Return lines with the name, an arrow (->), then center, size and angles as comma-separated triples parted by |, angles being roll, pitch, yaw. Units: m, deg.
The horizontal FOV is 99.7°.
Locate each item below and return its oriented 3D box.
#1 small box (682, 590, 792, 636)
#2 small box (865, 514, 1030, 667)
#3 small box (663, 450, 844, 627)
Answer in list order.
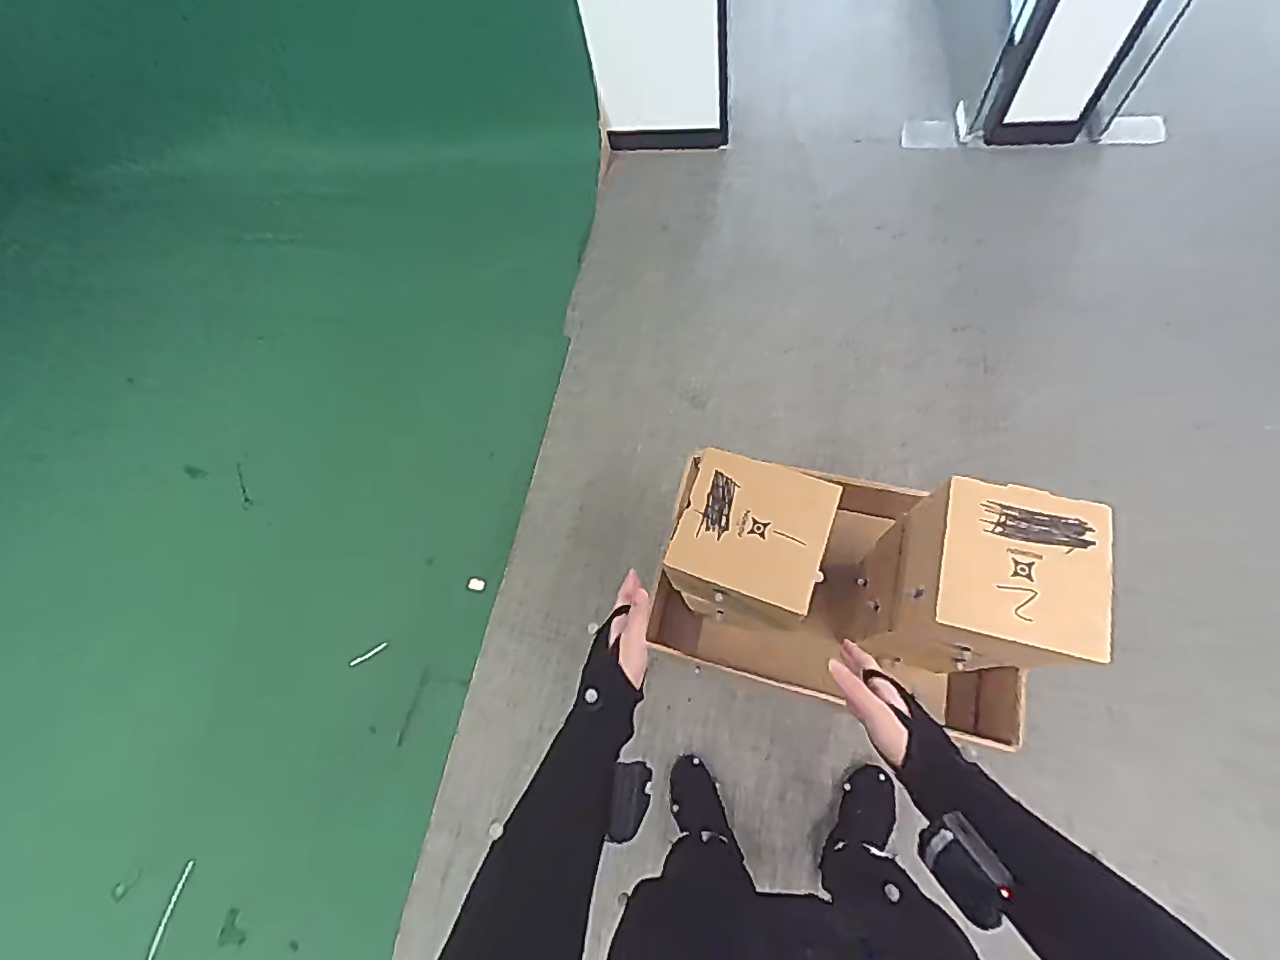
small box -> 0.178, 0.141, 0.872 | 0.168, 0.176, 0.179 | 15, 72, 15
small box -> 0.448, 0.172, 0.812 | 0.168, 0.176, 0.179 | 12, 71, 13
small box -> 0.148, 0.085, 0.720 | 0.179, 0.176, 0.168 | 18, 73, 16
